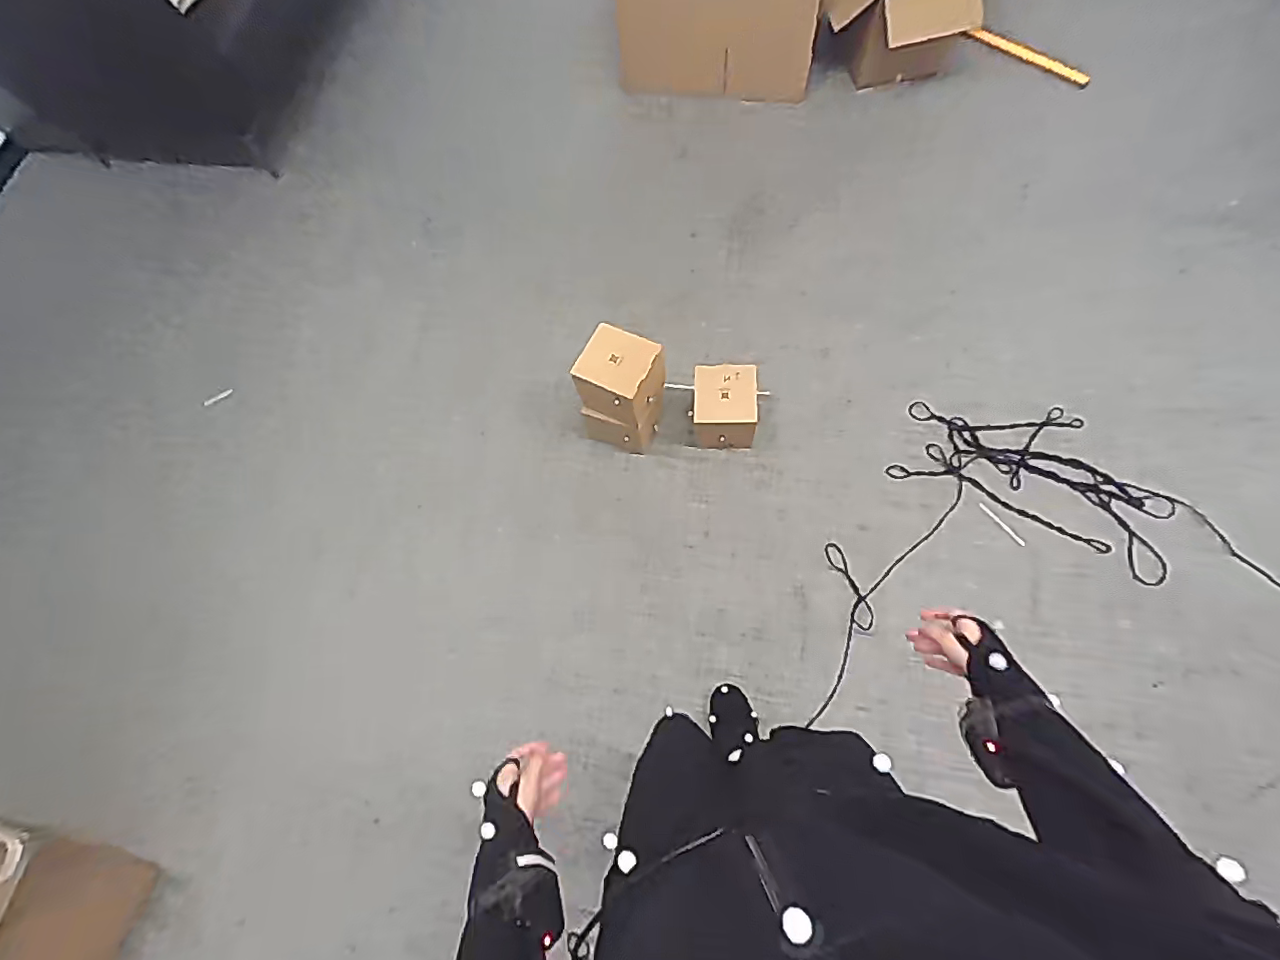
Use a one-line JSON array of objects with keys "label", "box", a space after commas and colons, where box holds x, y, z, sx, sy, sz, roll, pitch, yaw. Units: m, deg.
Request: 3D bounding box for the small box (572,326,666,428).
[{"label": "small box", "box": [-0.046, -0.258, 1.391, 0.179, 0.176, 0.168, 25, 73, 14]}]

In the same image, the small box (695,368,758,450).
[{"label": "small box", "box": [0.239, -0.192, 1.503, 0.168, 0.176, 0.179, 1, 69, 7]}]
